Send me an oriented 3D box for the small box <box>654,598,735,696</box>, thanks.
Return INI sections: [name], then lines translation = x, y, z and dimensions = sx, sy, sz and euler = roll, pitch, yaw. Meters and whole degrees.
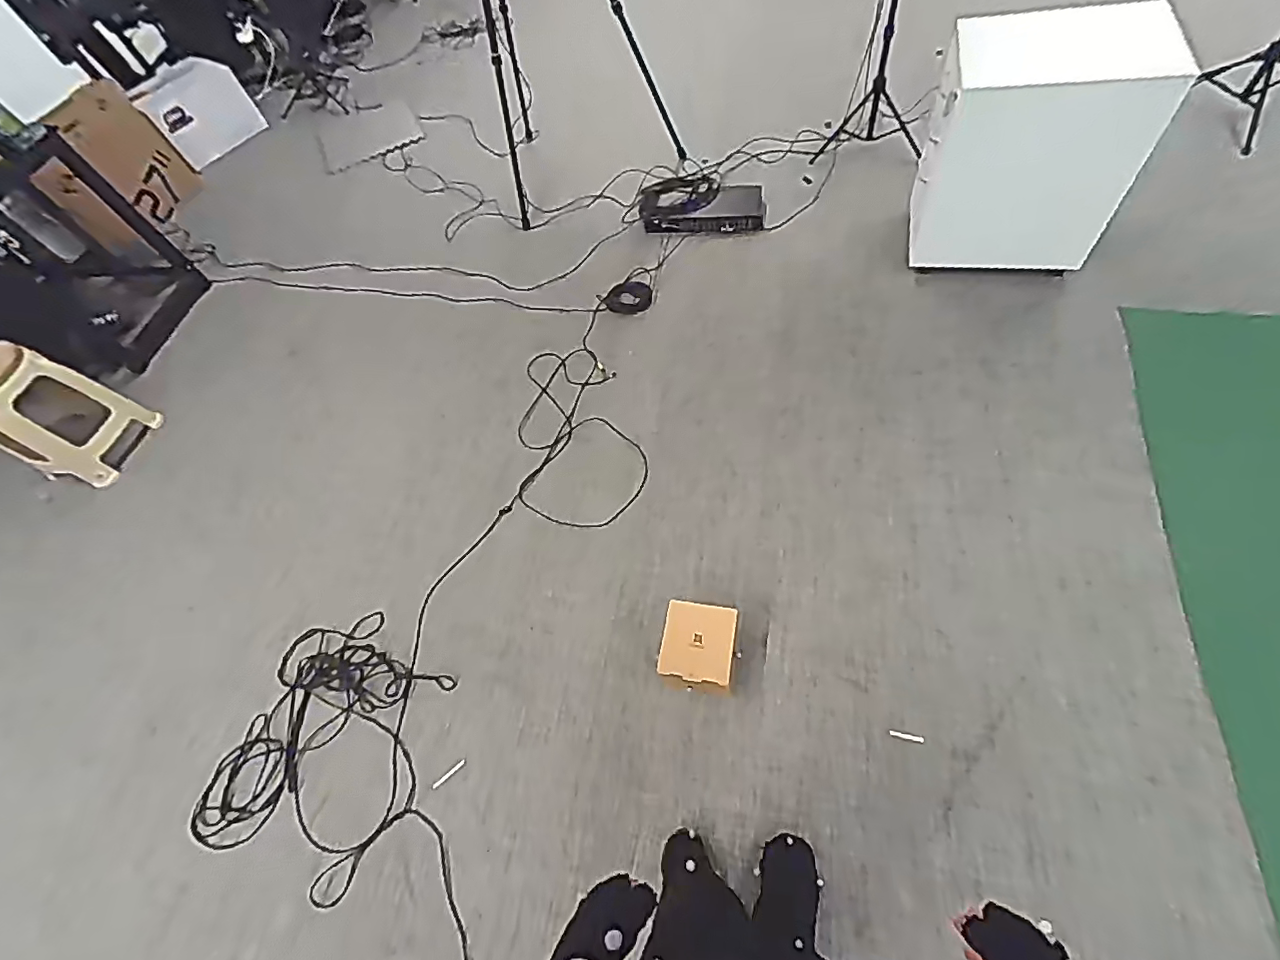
[small box]
translation = 0.139, 0.410, 1.319
dimensions = 0.168, 0.176, 0.179
euler = 5, 61, 15
